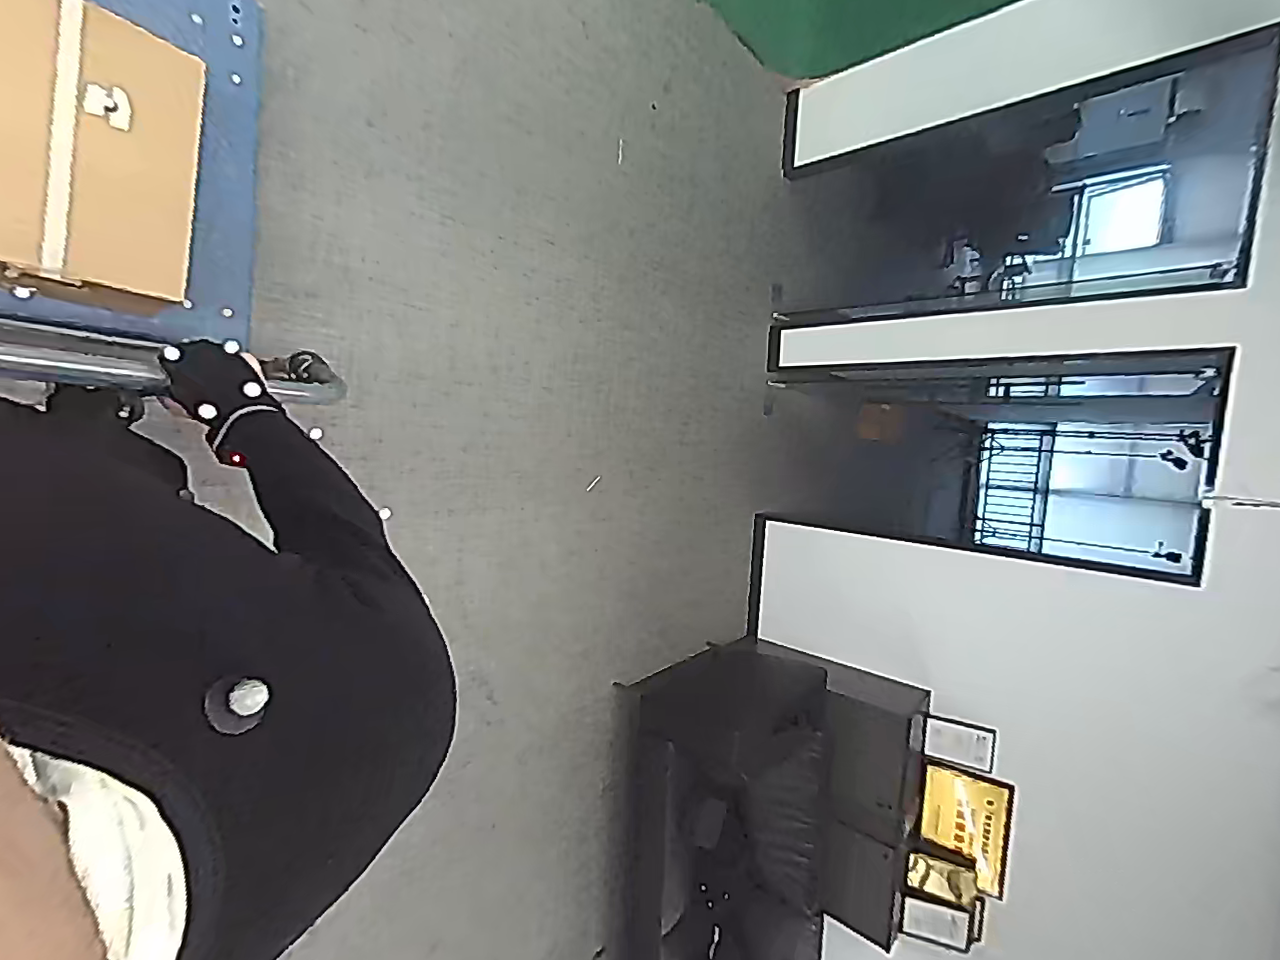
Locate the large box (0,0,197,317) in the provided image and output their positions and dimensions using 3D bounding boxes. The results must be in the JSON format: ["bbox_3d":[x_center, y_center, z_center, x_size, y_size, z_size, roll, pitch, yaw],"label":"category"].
[{"bbox_3d":[-0.968,-0.518,0.889,0.320,0.320,0.408,4,92,-50],"label":"large box"}]
